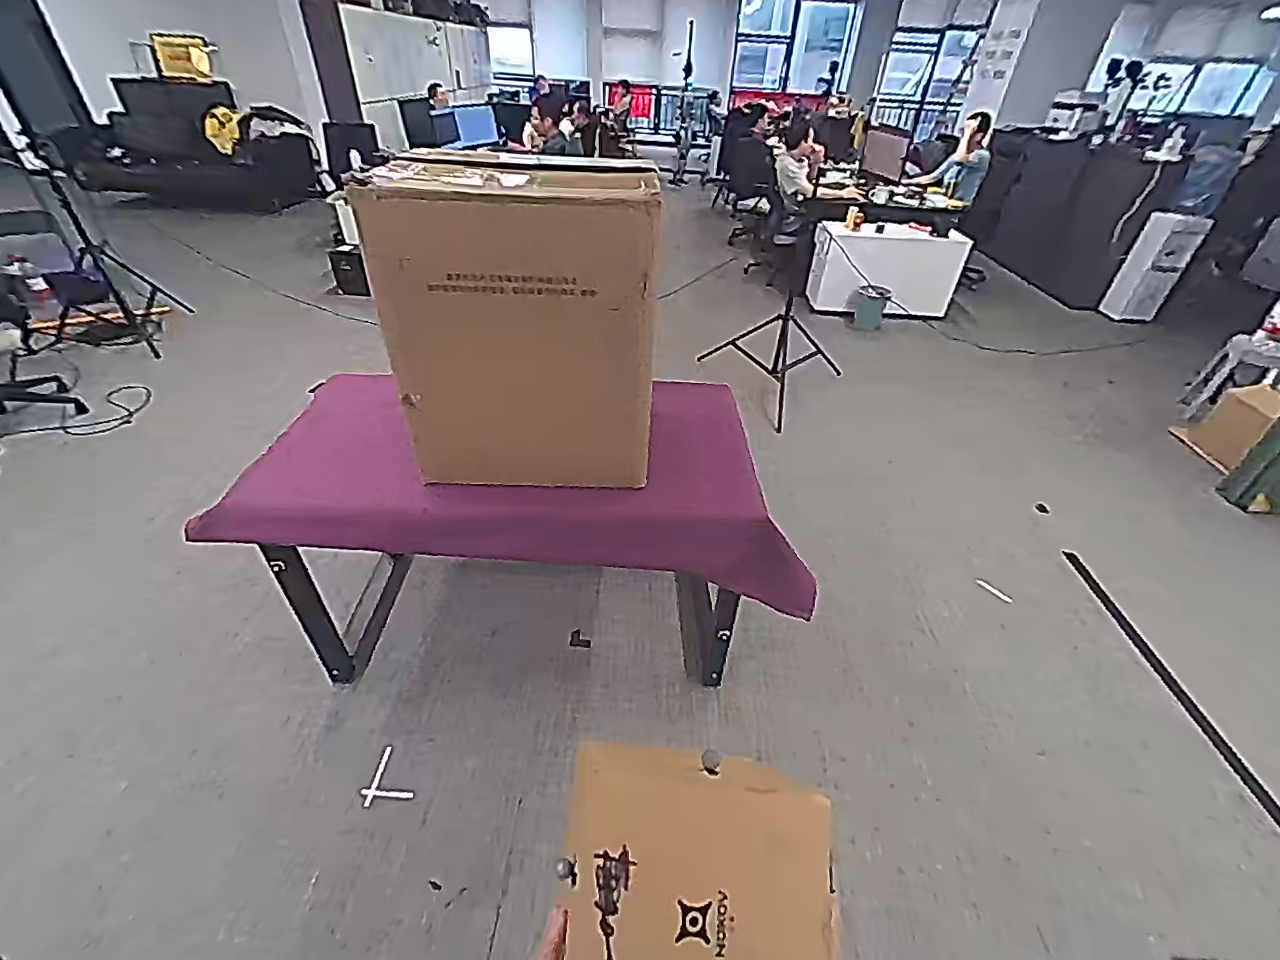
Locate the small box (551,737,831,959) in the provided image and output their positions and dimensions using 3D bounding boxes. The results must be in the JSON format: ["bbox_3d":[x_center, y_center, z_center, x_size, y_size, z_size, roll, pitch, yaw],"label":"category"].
[{"bbox_3d":[0.030,0.307,0.428,0.179,0.176,0.168,10,68,-7],"label":"small box"}]
